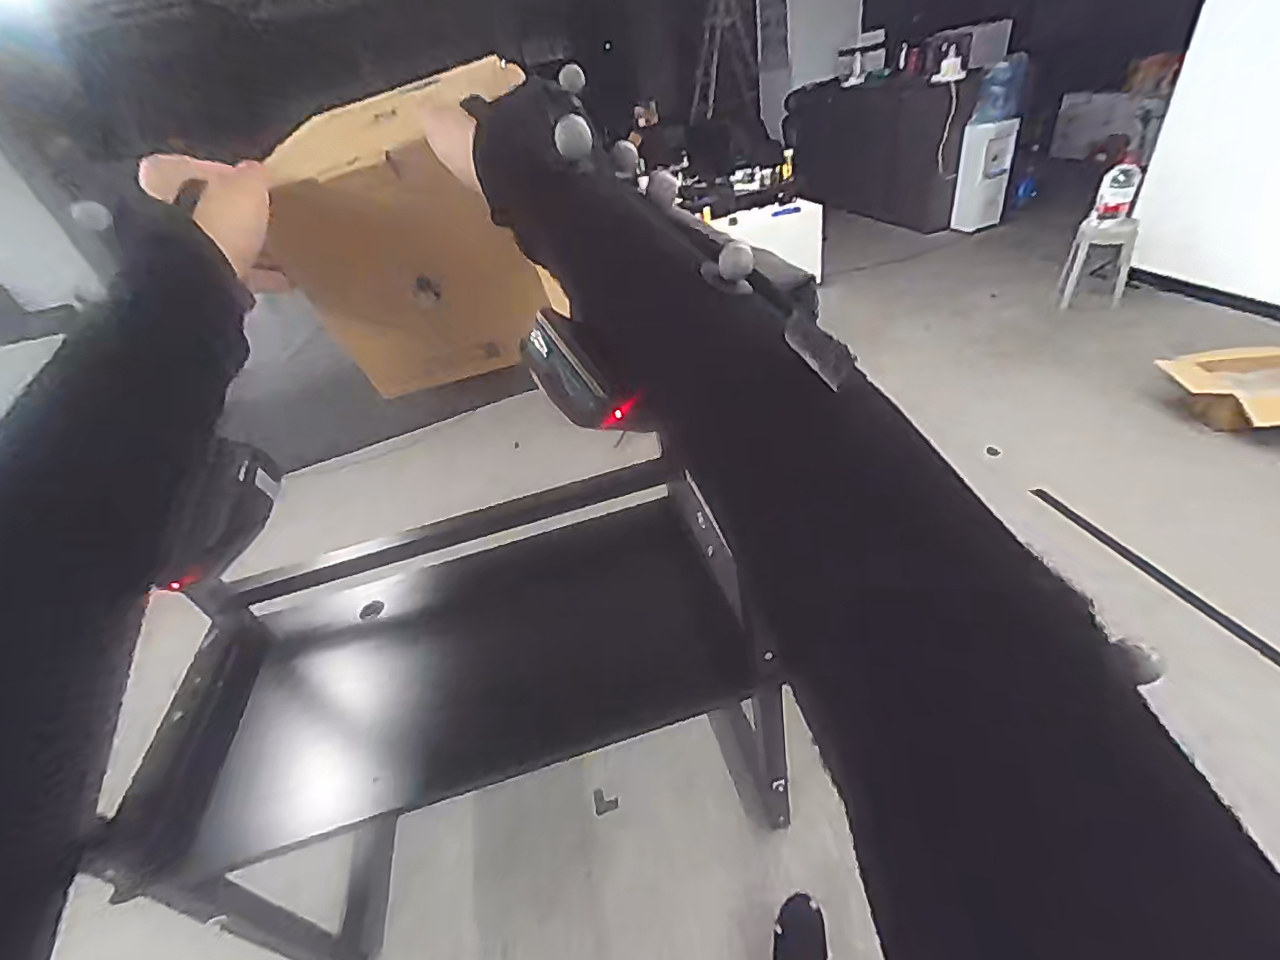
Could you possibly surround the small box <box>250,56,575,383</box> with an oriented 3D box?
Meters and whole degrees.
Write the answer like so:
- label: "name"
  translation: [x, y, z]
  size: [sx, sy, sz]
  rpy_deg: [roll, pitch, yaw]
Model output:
- label: "small box"
  translation: [-0.156, -0.199, 0.442]
  size: [0.168, 0.176, 0.179]
  rpy_deg: [-14, 50, 6]
